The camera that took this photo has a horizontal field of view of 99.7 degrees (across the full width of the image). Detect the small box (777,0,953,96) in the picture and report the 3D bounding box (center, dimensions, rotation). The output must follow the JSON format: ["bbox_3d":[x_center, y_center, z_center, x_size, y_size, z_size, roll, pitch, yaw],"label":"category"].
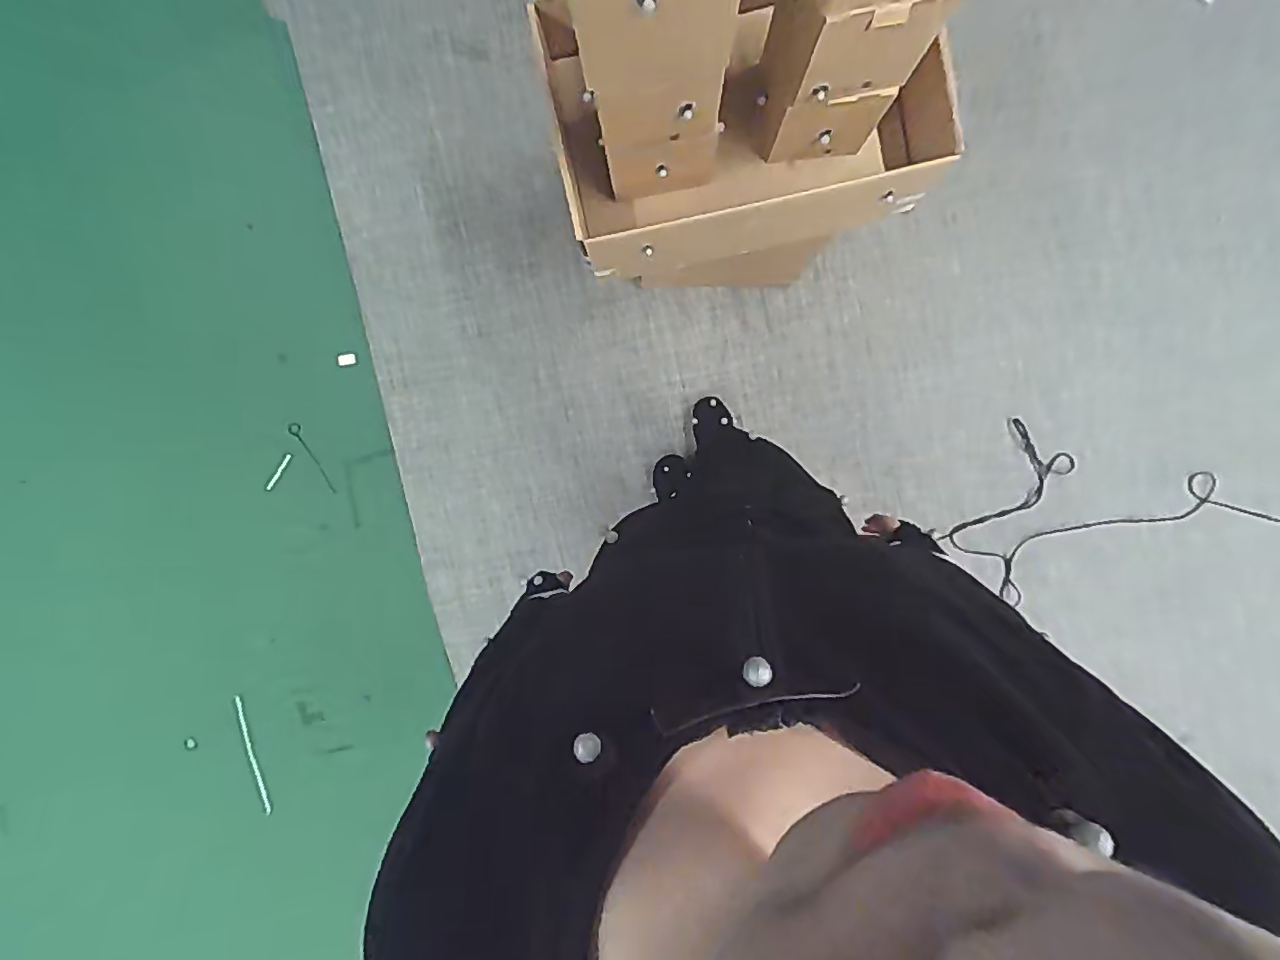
[{"bbox_3d":[0.288,-0.648,0.716,0.168,0.176,0.179,-9,93,3],"label":"small box"}]

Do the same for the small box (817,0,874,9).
[{"bbox_3d":[0.277,-0.637,0.553,0.179,0.176,0.168,-10,94,2],"label":"small box"}]

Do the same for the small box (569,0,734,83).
[{"bbox_3d":[0.006,-0.559,0.567,0.179,0.176,0.168,-8,94,2],"label":"small box"}]

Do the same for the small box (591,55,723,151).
[{"bbox_3d":[0.010,-0.578,0.731,0.168,0.176,0.179,-11,93,2],"label":"small box"}]
